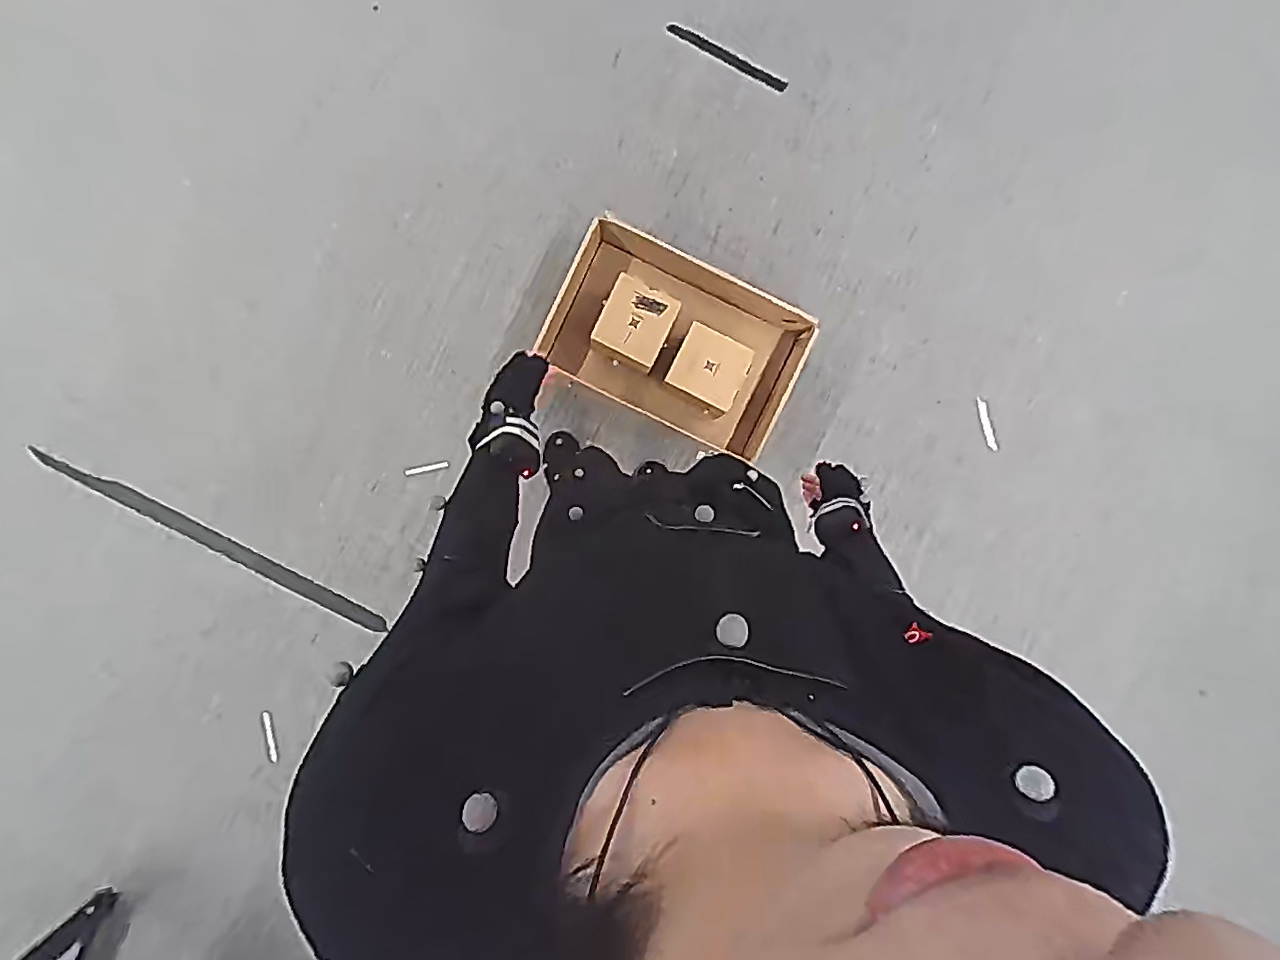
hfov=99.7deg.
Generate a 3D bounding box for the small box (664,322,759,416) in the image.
[{"bbox_3d":[0.175,-0.274,1.384,0.179,0.176,0.168,26,90,0],"label":"small box"}]
